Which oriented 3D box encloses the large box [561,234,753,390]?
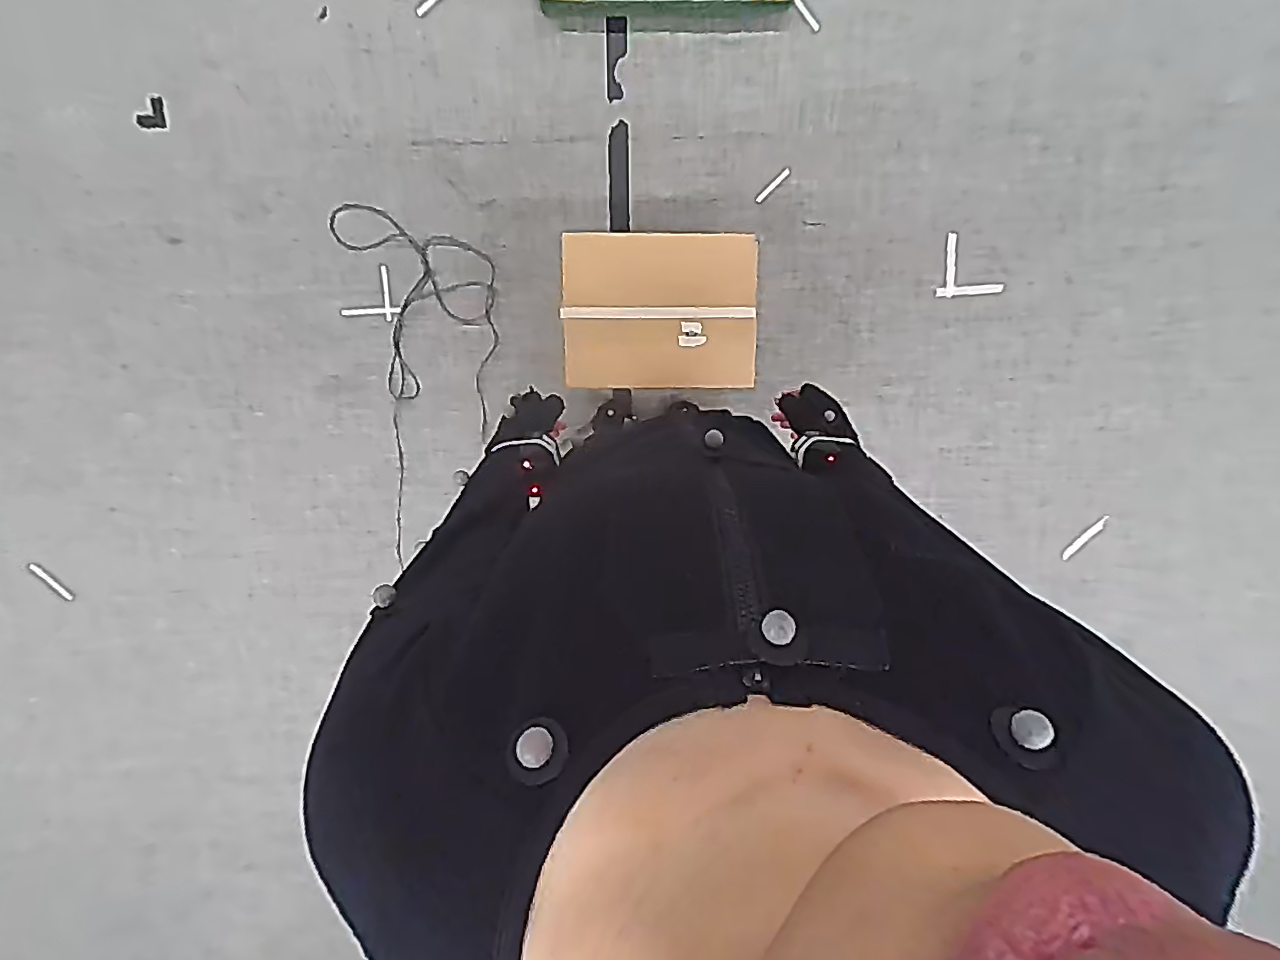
[{"bbox_3d":[0.032,-0.377,1.287,0.408,0.320,0.320,-1,100,-2],"label":"large box"}]
